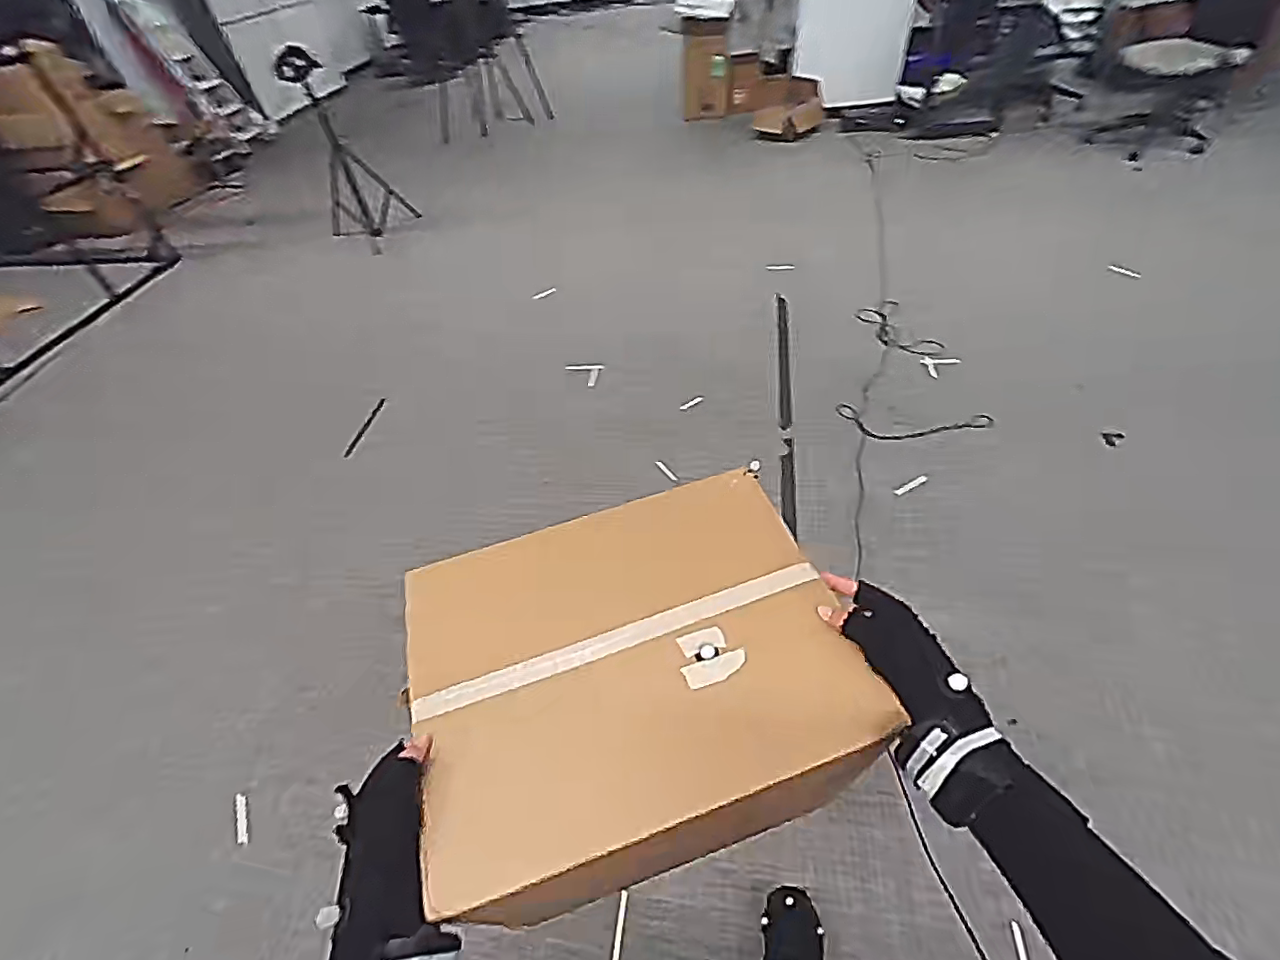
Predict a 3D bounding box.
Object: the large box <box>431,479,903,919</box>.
[{"bbox_3d":[0.010,0.258,0.648,0.408,0.320,0.320,-16,51,-8],"label":"large box"}]
